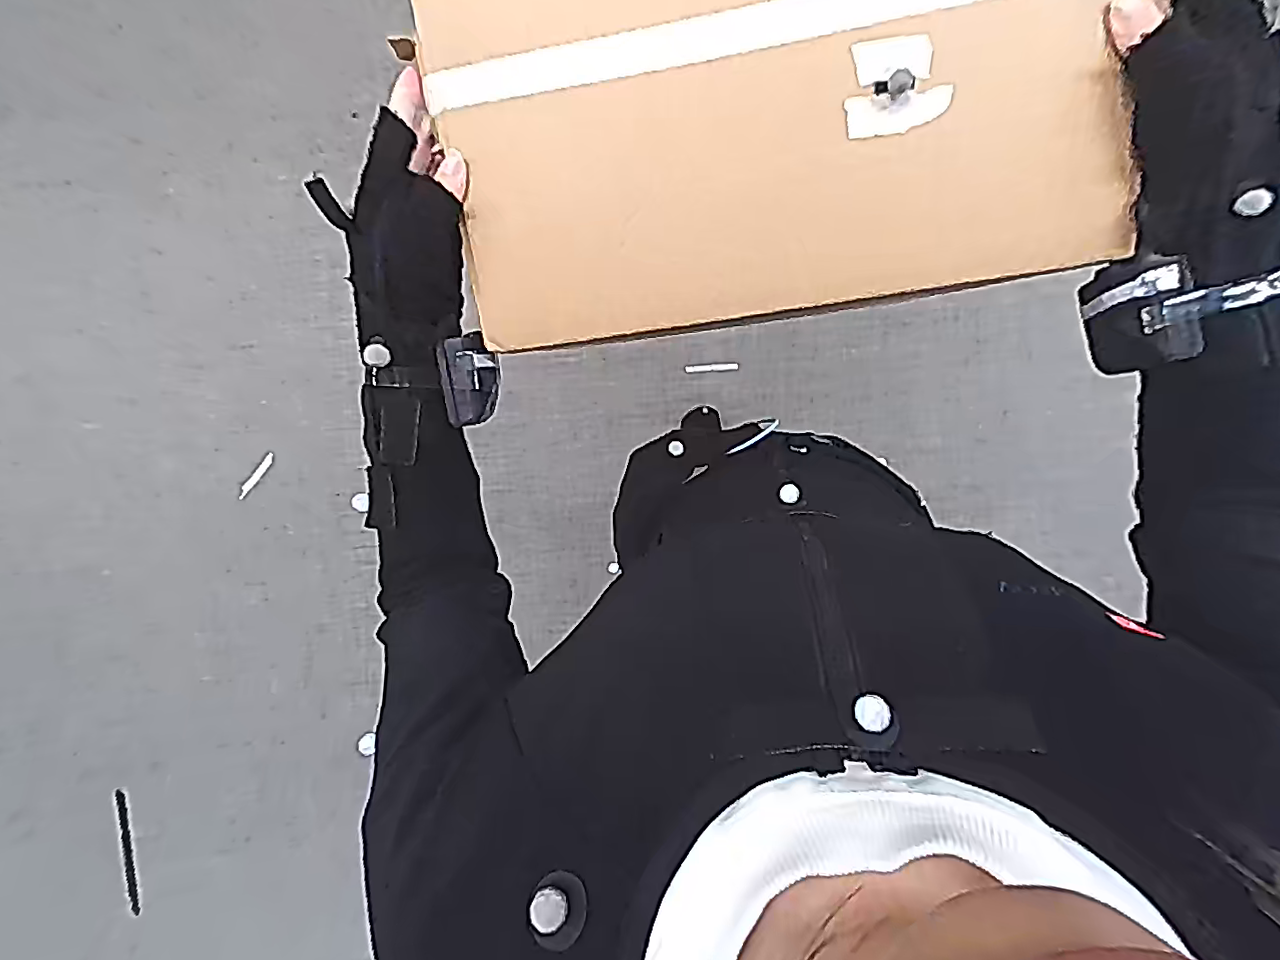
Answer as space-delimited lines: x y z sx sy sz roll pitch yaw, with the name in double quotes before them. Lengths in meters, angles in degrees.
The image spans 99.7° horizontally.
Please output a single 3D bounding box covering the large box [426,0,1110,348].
"large box" 0.079 -0.302 0.470 0.408 0.320 0.320 -8 104 5
